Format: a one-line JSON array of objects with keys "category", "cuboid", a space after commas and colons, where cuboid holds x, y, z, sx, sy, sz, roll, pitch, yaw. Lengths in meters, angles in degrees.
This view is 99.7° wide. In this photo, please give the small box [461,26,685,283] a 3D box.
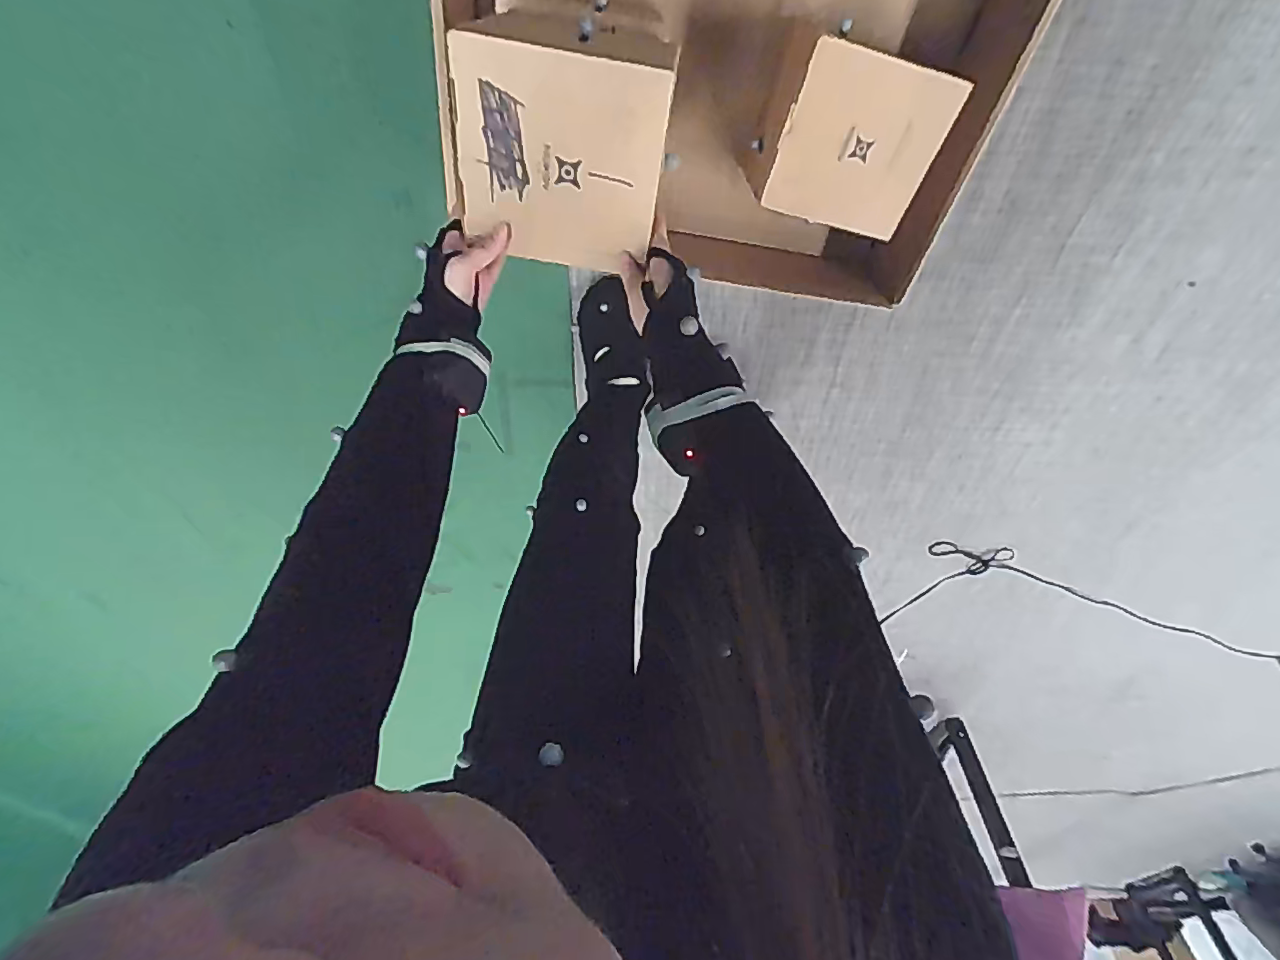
[{"category": "small box", "cuboid": [-0.058, -0.318, 0.524, 0.179, 0.176, 0.168, 9, 134, -4]}]
